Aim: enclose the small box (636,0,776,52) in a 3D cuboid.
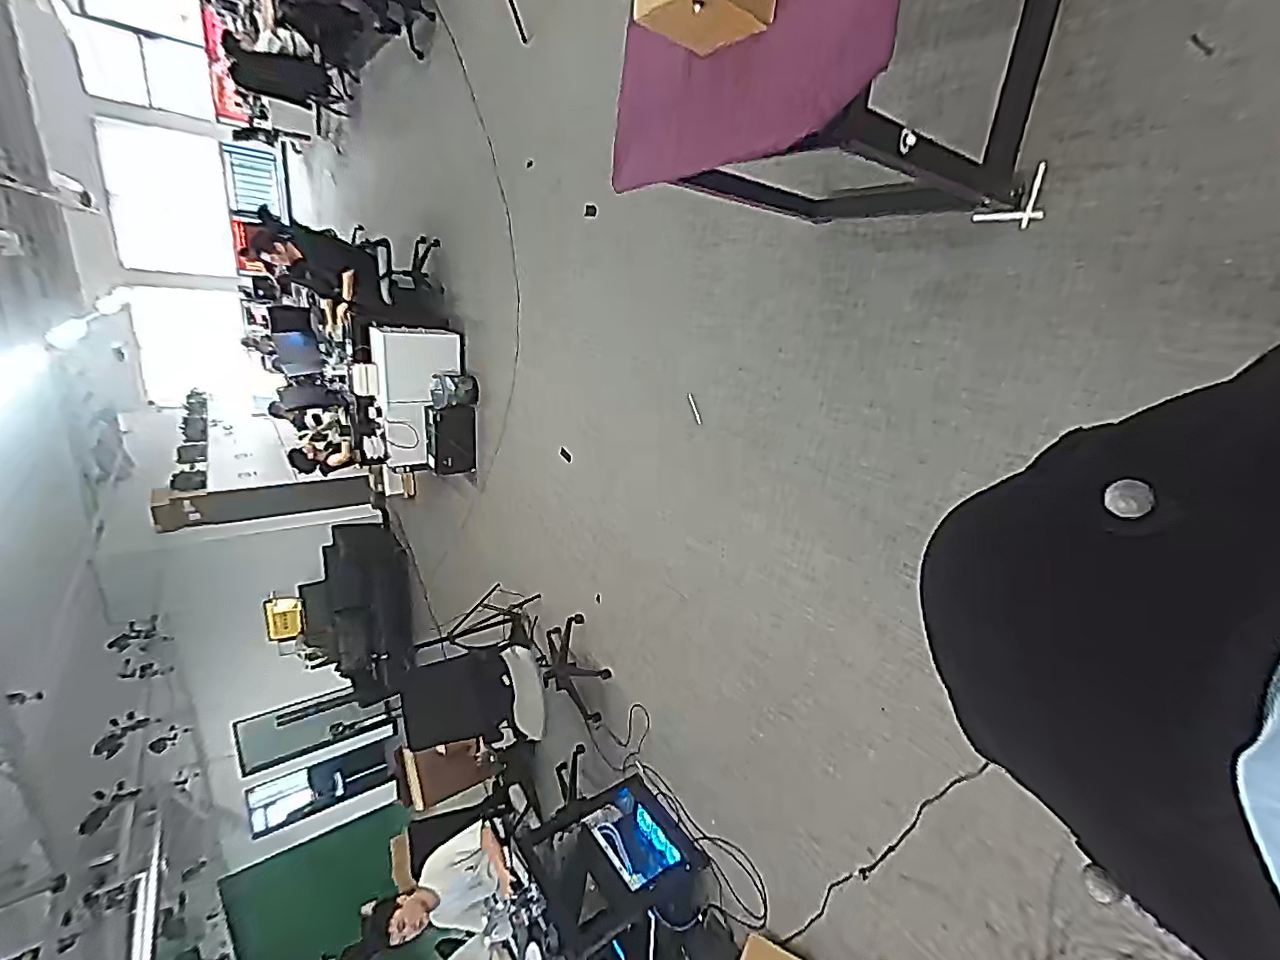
[{"bbox_3d":[0.116,-0.854,0.898,0.179,0.176,0.168,26,116,48],"label":"small box"}]
